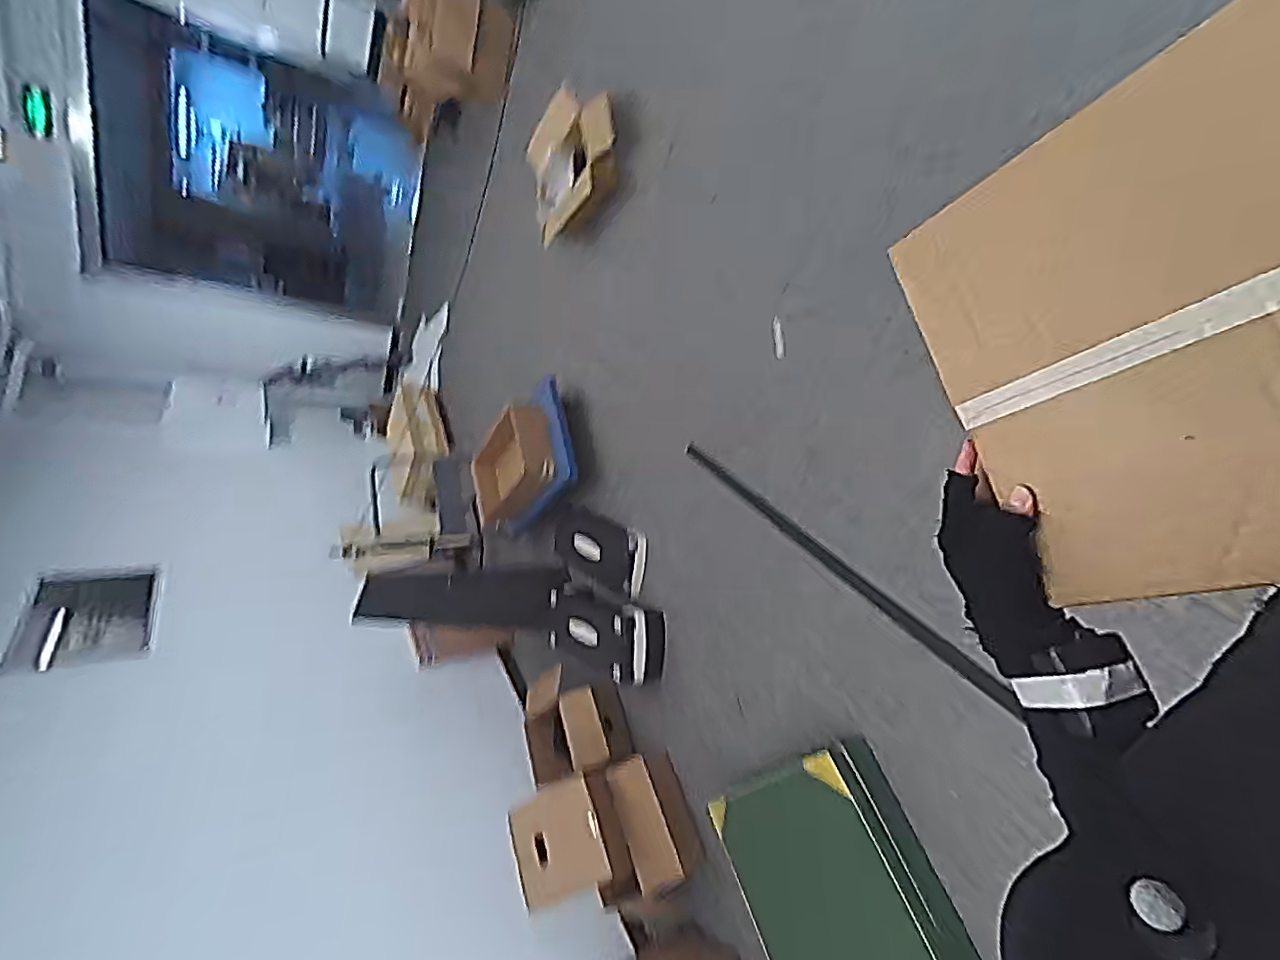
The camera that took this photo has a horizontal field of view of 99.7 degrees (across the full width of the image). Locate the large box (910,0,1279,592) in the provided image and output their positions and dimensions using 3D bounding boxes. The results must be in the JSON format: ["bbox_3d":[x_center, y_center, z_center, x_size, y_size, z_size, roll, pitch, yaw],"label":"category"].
[{"bbox_3d":[0.495,-0.137,0.372,0.408,0.320,0.320,-29,76,52],"label":"large box"}]
